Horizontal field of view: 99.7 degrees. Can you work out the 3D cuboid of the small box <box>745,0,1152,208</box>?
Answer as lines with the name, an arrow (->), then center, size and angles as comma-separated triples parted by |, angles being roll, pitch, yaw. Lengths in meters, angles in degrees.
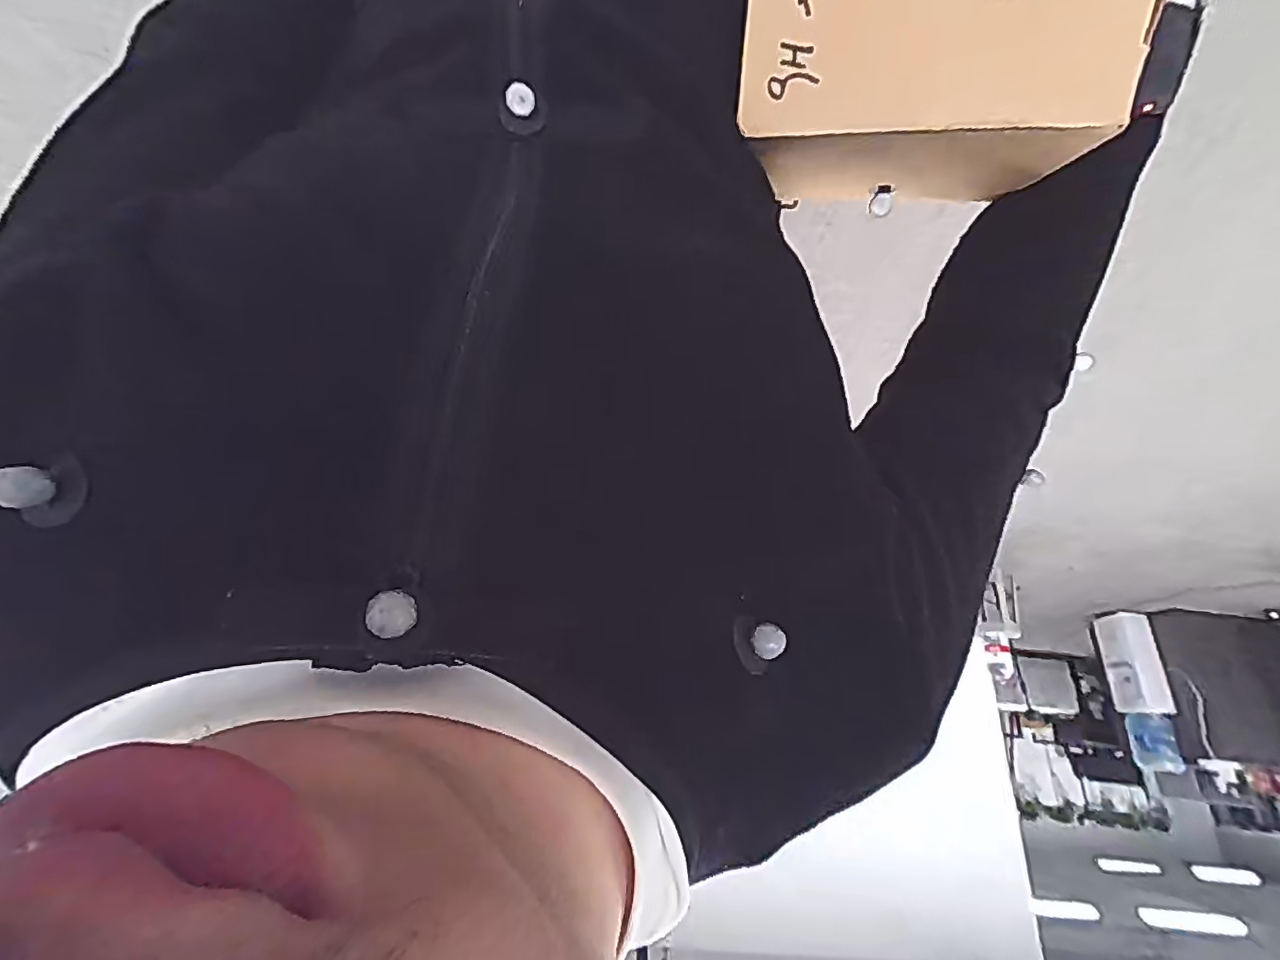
small box -> 0.166, -0.270, 0.326 | 0.179, 0.168, 0.176 | 8, -162, 14
